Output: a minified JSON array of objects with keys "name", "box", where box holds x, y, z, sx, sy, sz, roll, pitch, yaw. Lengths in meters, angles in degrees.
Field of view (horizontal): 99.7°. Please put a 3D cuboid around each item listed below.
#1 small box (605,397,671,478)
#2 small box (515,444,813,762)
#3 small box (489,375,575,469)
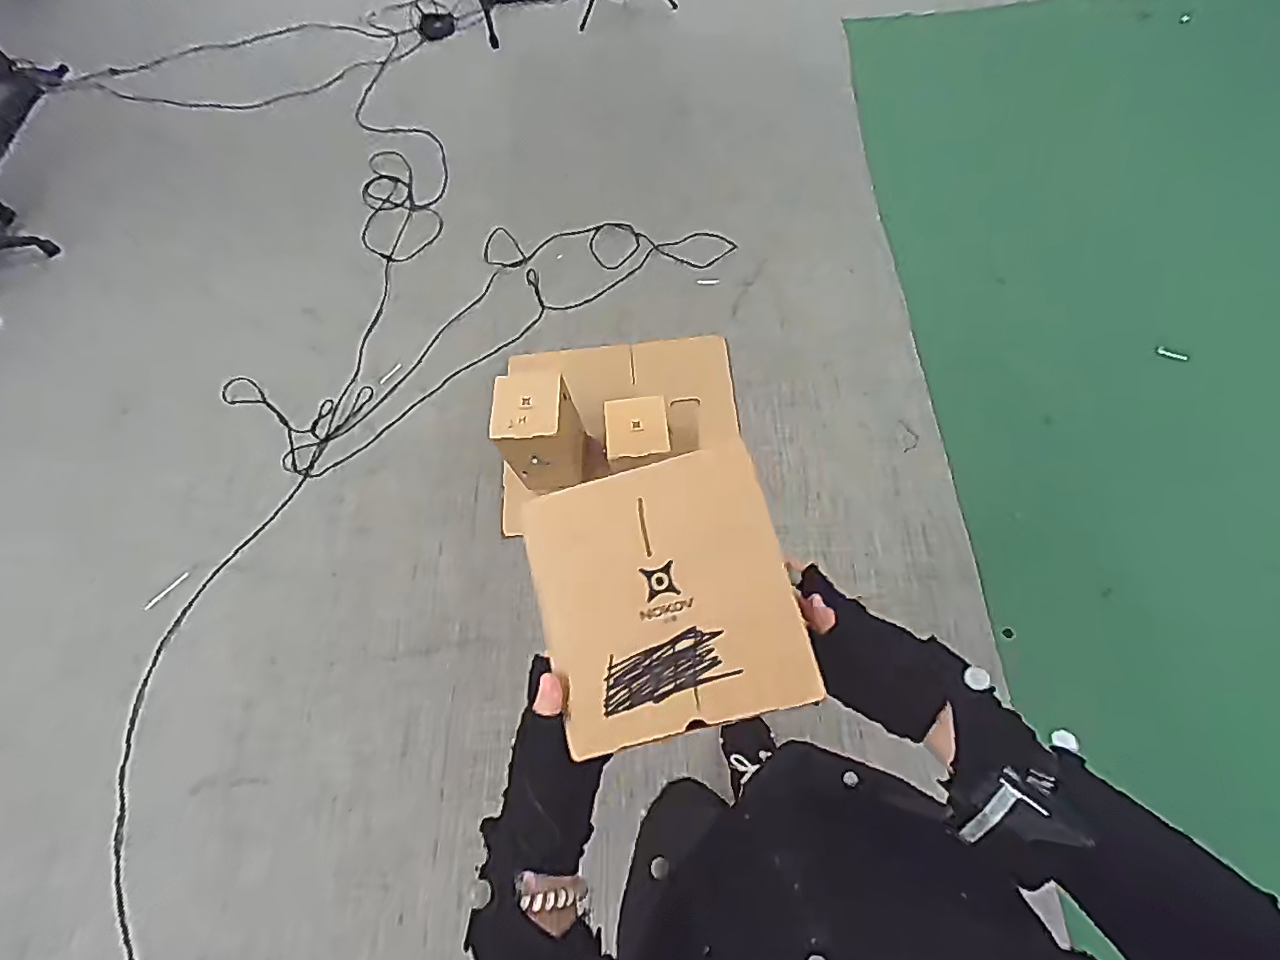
[{"name":"small box","box":[-0.002,-0.106,1.496,0.168,0.176,0.179,-6,67,2]},{"name":"small box","box":[0.022,0.093,0.436,0.168,0.176,0.179,-17,77,4]},{"name":"small box","box":[-0.262,-0.141,1.354,0.168,0.176,0.179,-3,67,6]}]
